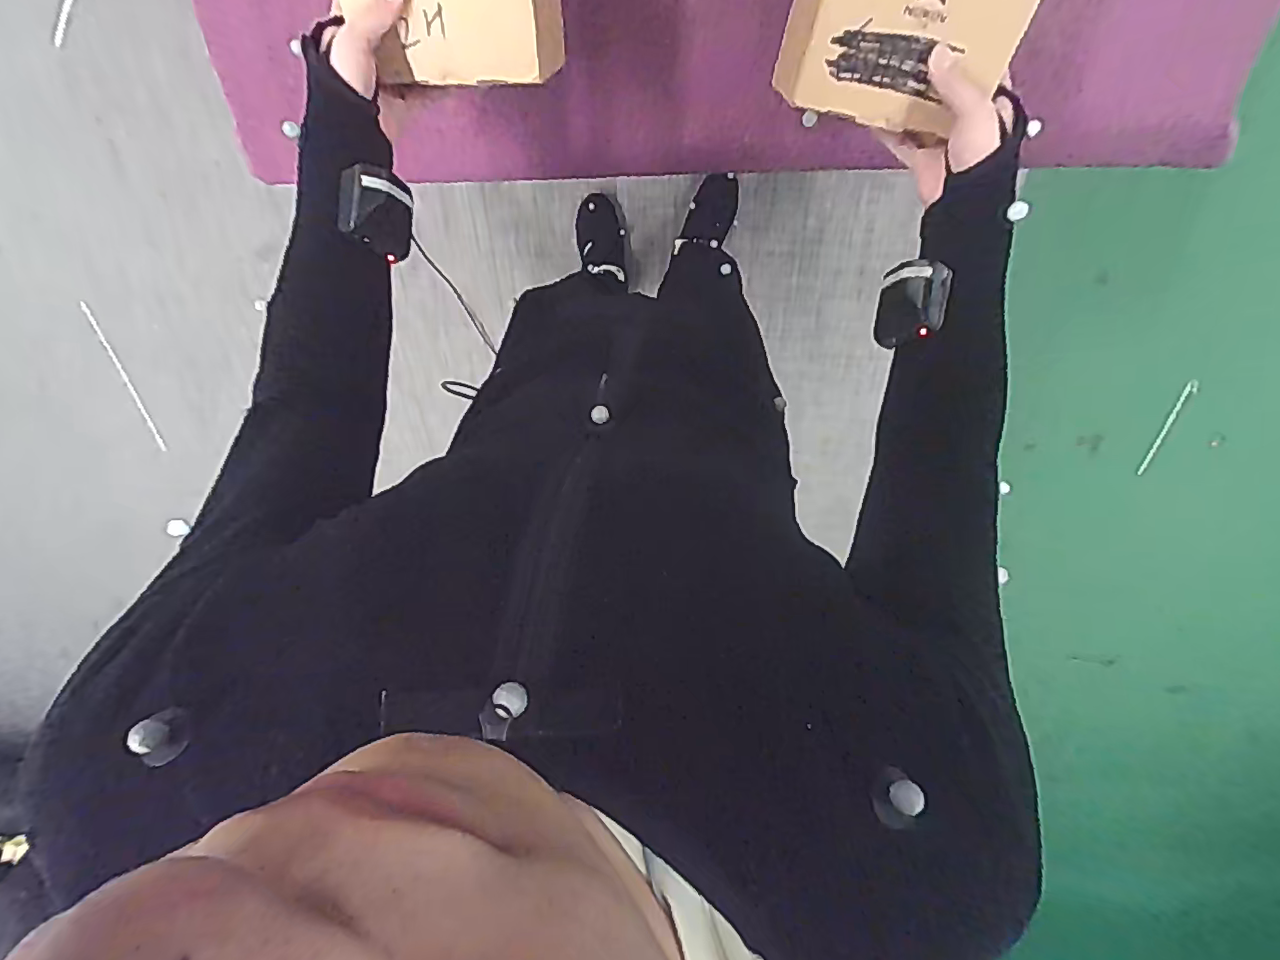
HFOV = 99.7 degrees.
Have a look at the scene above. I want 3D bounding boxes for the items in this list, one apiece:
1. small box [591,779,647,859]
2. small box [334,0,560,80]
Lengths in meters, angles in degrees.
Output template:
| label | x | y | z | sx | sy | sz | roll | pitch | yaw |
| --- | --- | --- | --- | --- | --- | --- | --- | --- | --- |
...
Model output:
| label | x | y | z | sx | sy | sz | roll | pitch | yaw |
| --- | --- | --- | --- | --- | --- | --- | --- | --- | --- |
| small box | -0.069 | 1.118 | 1.789 | 0.168 | 0.176 | 0.179 | 6 | 123 | -2 |
| small box | -0.169 | -0.475 | 0.481 | 0.168 | 0.176 | 0.179 | 1 | 133 | 1 |
